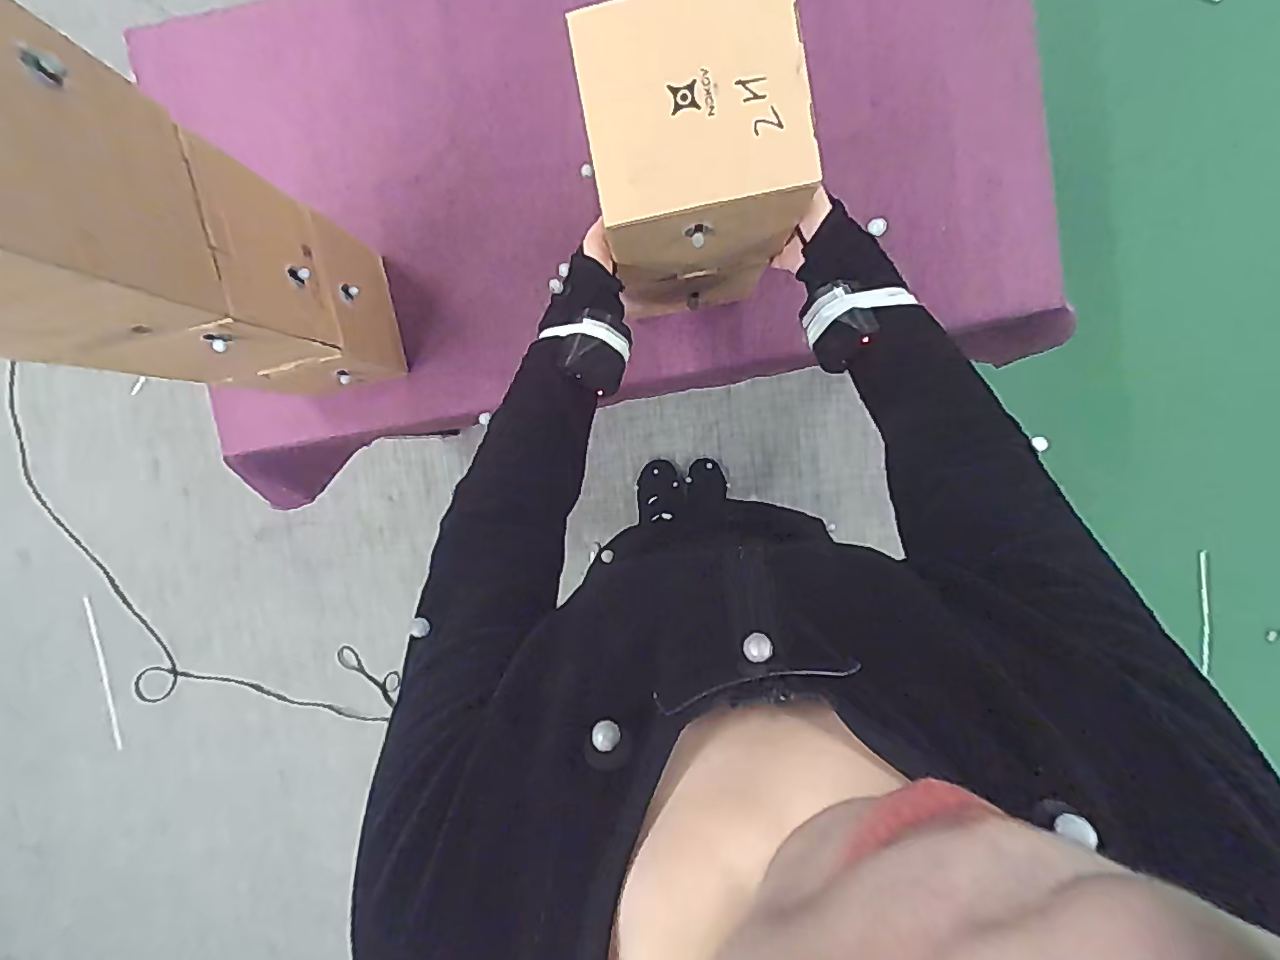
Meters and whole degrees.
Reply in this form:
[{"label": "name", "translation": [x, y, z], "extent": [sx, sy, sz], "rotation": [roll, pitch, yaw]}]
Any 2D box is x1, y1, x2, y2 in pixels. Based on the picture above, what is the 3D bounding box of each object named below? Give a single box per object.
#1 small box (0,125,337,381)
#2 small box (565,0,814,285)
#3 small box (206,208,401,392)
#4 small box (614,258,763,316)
[{"label": "small box", "translation": [-0.443, -0.200, 0.531], "extent": [0.179, 0.176, 0.168], "rotation": [-13, 94, 1]}, {"label": "small box", "translation": [0.043, -0.296, 0.502], "extent": [0.179, 0.176, 0.168], "rotation": [-10, 94, 3]}, {"label": "small box", "translation": [-0.433, -0.213, 0.693], "extent": [0.168, 0.176, 0.179], "rotation": [-11, 93, 2]}, {"label": "small box", "translation": [0.047, -0.310, 0.667], "extent": [0.168, 0.176, 0.179], "rotation": [-9, 95, 3]}]
